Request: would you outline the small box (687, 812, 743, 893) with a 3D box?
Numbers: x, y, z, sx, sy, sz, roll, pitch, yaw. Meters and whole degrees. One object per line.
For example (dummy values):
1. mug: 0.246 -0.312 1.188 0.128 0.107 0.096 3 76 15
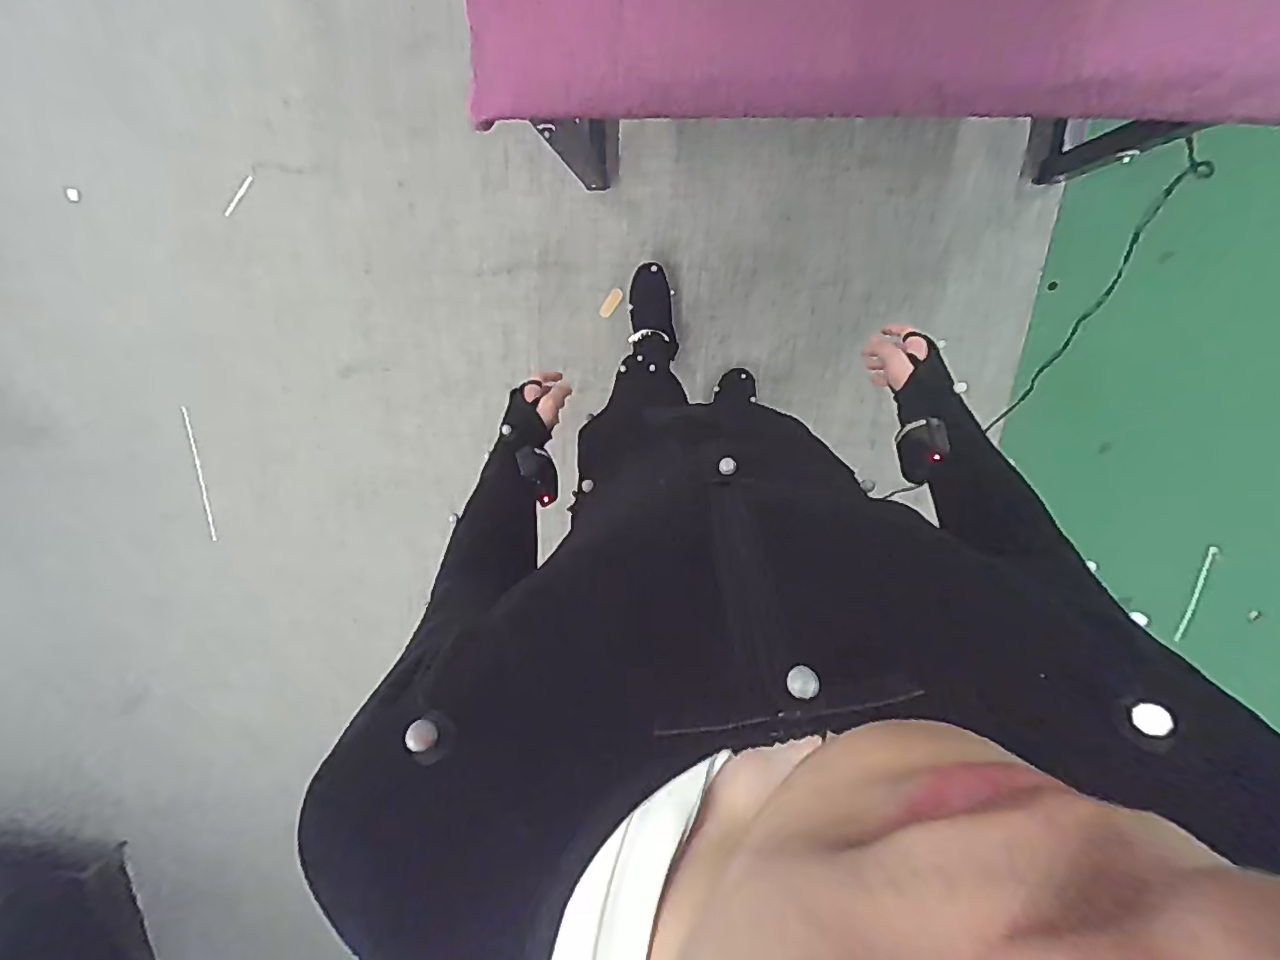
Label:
1. small box: 0.271 1.351 1.970 0.179 0.176 0.168 9 108 5
